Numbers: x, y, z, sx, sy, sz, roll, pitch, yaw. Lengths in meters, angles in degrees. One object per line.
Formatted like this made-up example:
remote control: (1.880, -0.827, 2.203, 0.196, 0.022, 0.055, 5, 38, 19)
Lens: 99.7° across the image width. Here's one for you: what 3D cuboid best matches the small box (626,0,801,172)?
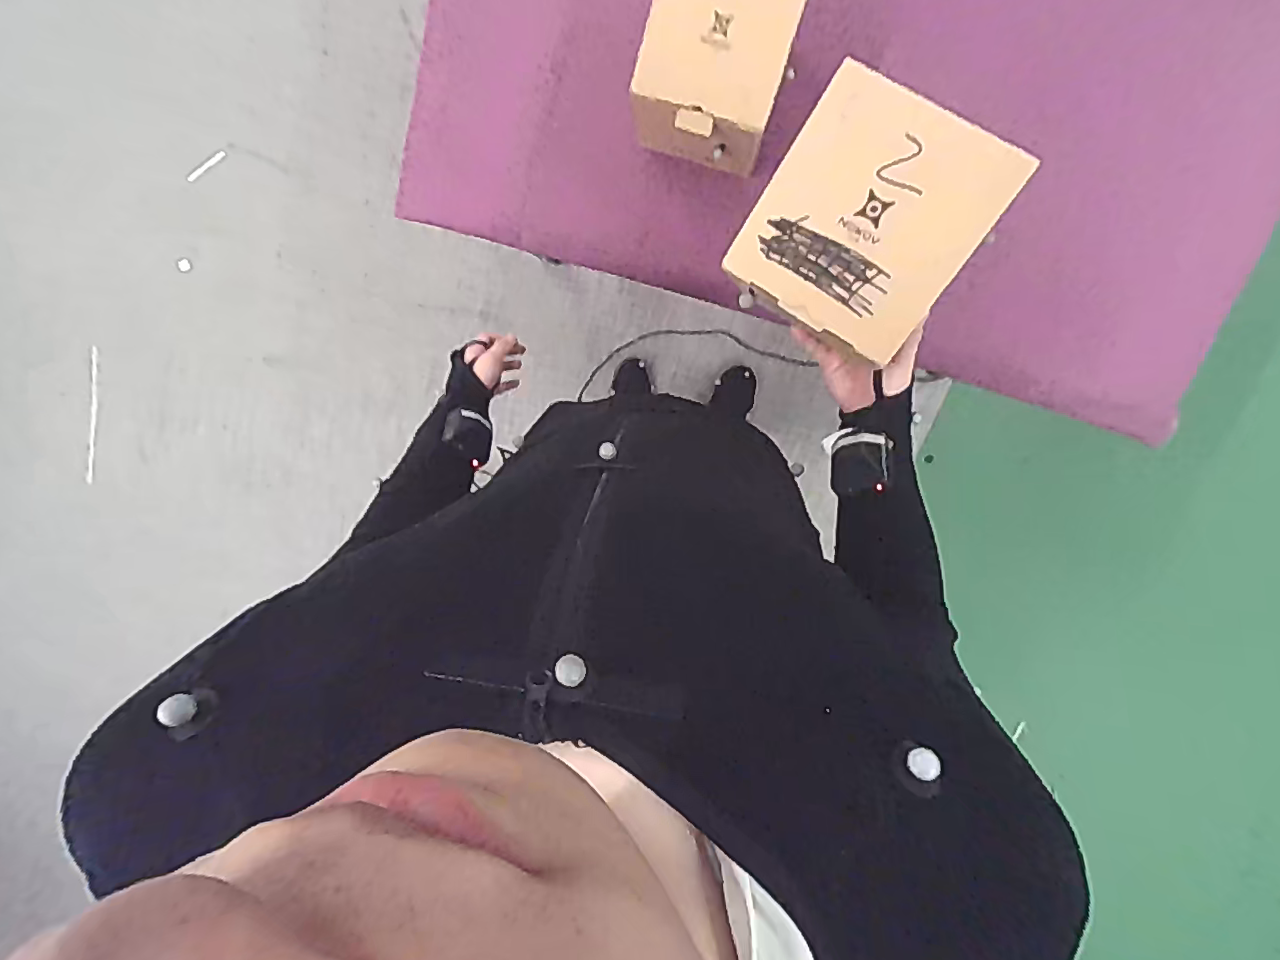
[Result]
small box: (0.092, -0.524, 0.685, 0.168, 0.176, 0.179, 18, 103, 0)
